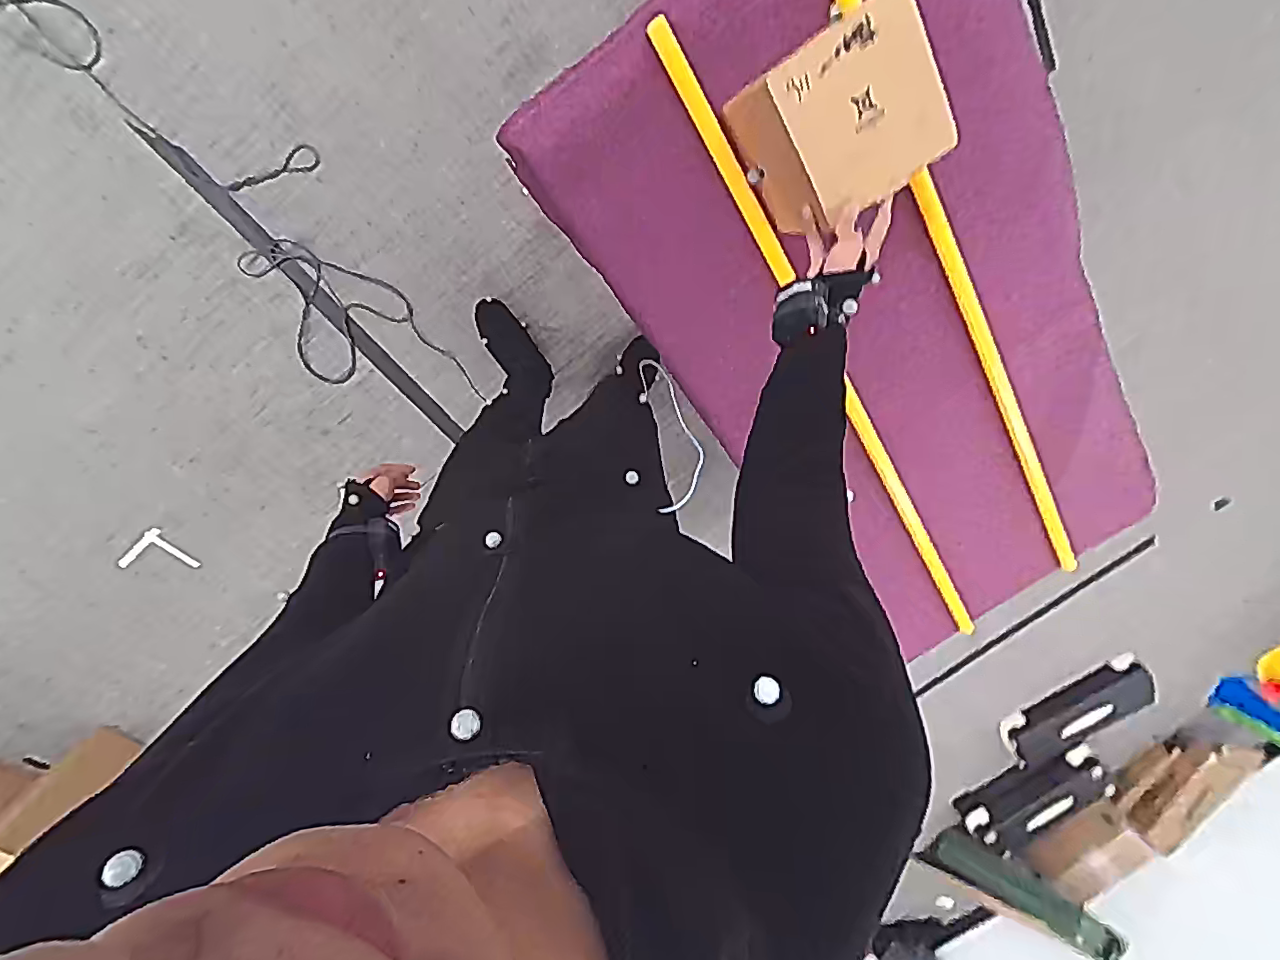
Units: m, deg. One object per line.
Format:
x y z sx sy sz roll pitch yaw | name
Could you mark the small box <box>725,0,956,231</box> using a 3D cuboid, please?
0.227 -0.427 0.644 0.168 0.176 0.179 -34 116 7 | small box
